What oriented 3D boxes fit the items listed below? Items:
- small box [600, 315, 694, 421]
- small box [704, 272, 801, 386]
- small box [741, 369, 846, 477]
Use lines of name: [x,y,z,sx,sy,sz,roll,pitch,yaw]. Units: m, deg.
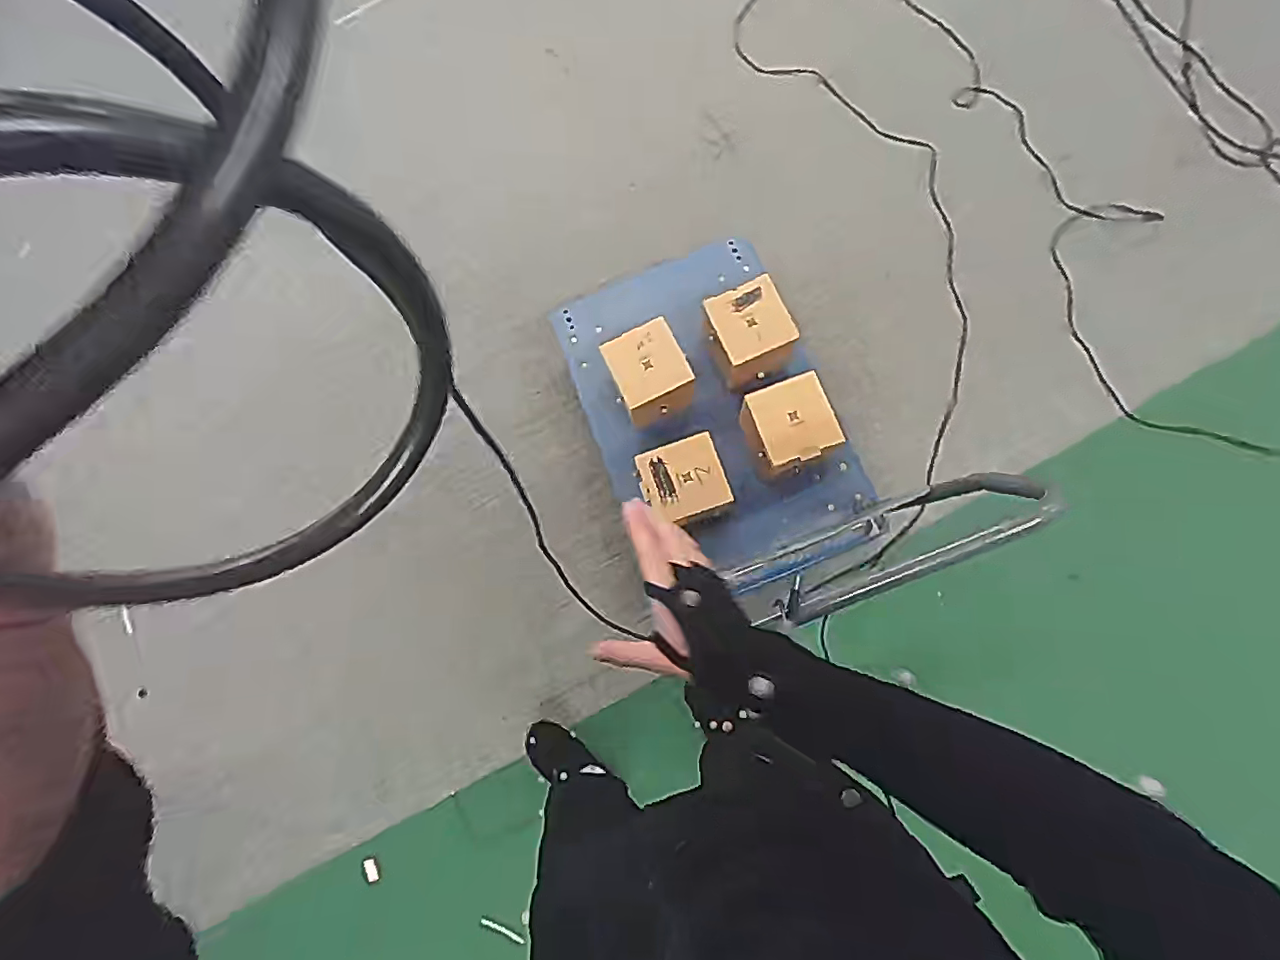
small box: [0.023,-0.256,1.299,0.168,0.176,0.179,-26,78,0]
small box: [0.258,-0.353,1.294,0.168,0.176,0.179,-24,79,2]
small box: [0.342,-0.124,1.245,0.168,0.176,0.179,-20,79,2]
